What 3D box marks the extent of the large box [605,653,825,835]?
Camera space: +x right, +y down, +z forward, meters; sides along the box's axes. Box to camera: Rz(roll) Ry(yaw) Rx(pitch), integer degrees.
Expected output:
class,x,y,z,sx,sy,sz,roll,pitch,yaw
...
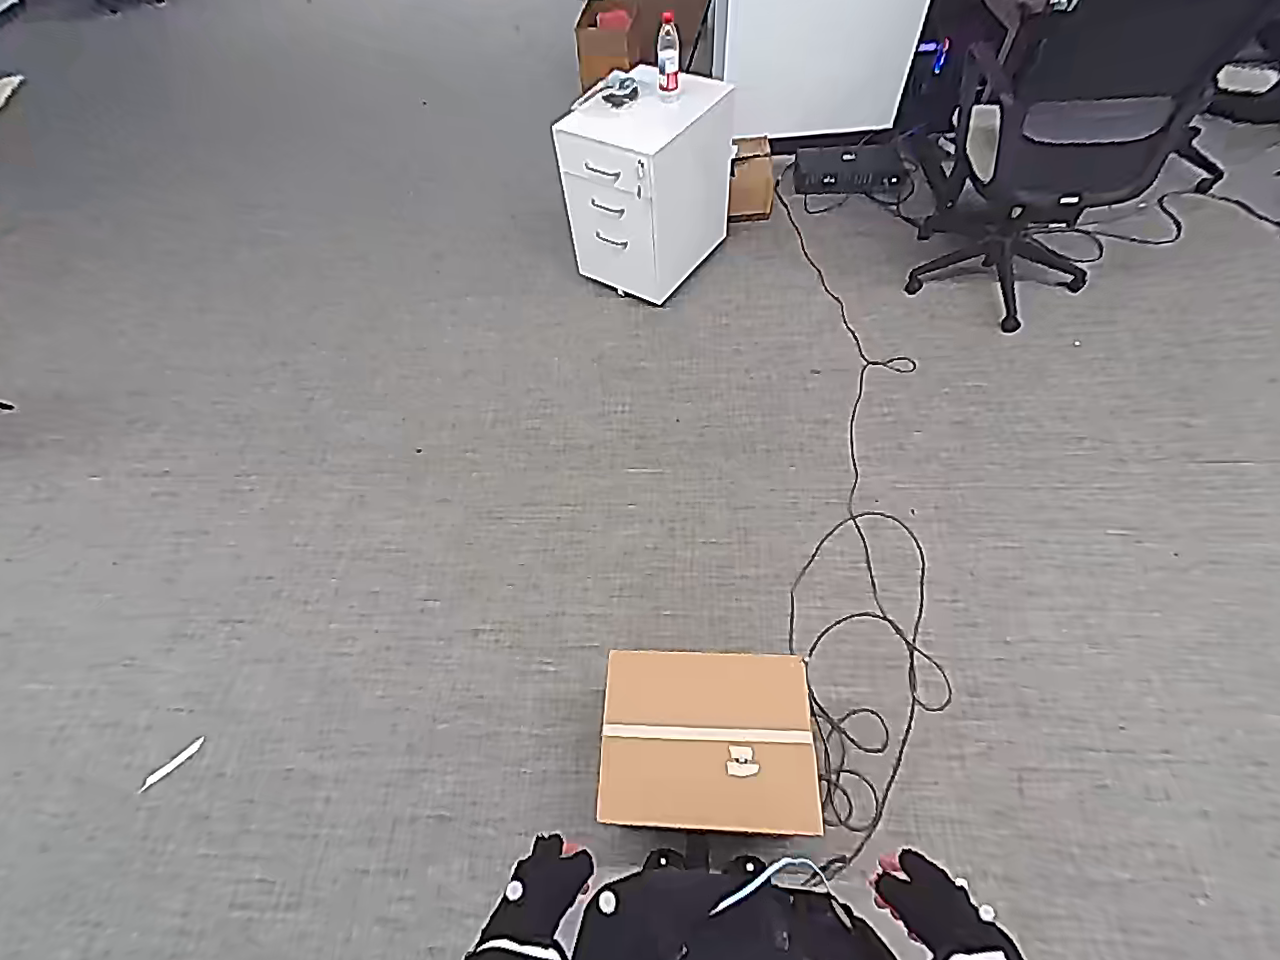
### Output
class,x,y,z,sx,sy,sz,roll,pitch,yaw
large box,0.147,0.578,1.175,0.408,0.320,0.320,0,57,5
